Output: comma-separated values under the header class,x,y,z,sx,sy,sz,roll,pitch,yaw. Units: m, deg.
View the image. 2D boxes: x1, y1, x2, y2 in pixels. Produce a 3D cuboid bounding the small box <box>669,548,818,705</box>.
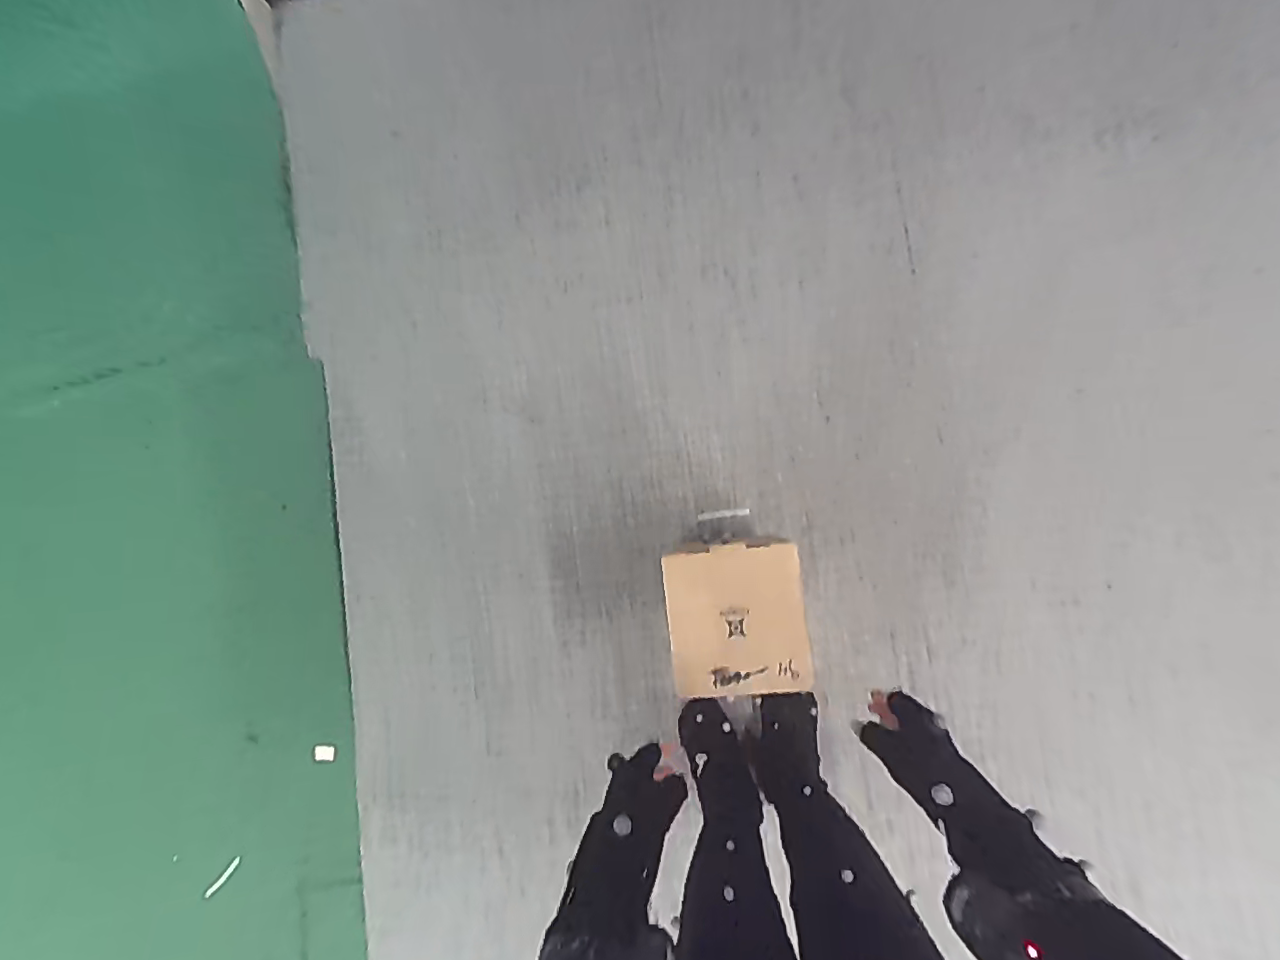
class,x,y,z,sx,sy,sz,roll,pitch,yaw
small box,0.133,0.187,0.733,0.168,0.176,0.179,-7,83,8
